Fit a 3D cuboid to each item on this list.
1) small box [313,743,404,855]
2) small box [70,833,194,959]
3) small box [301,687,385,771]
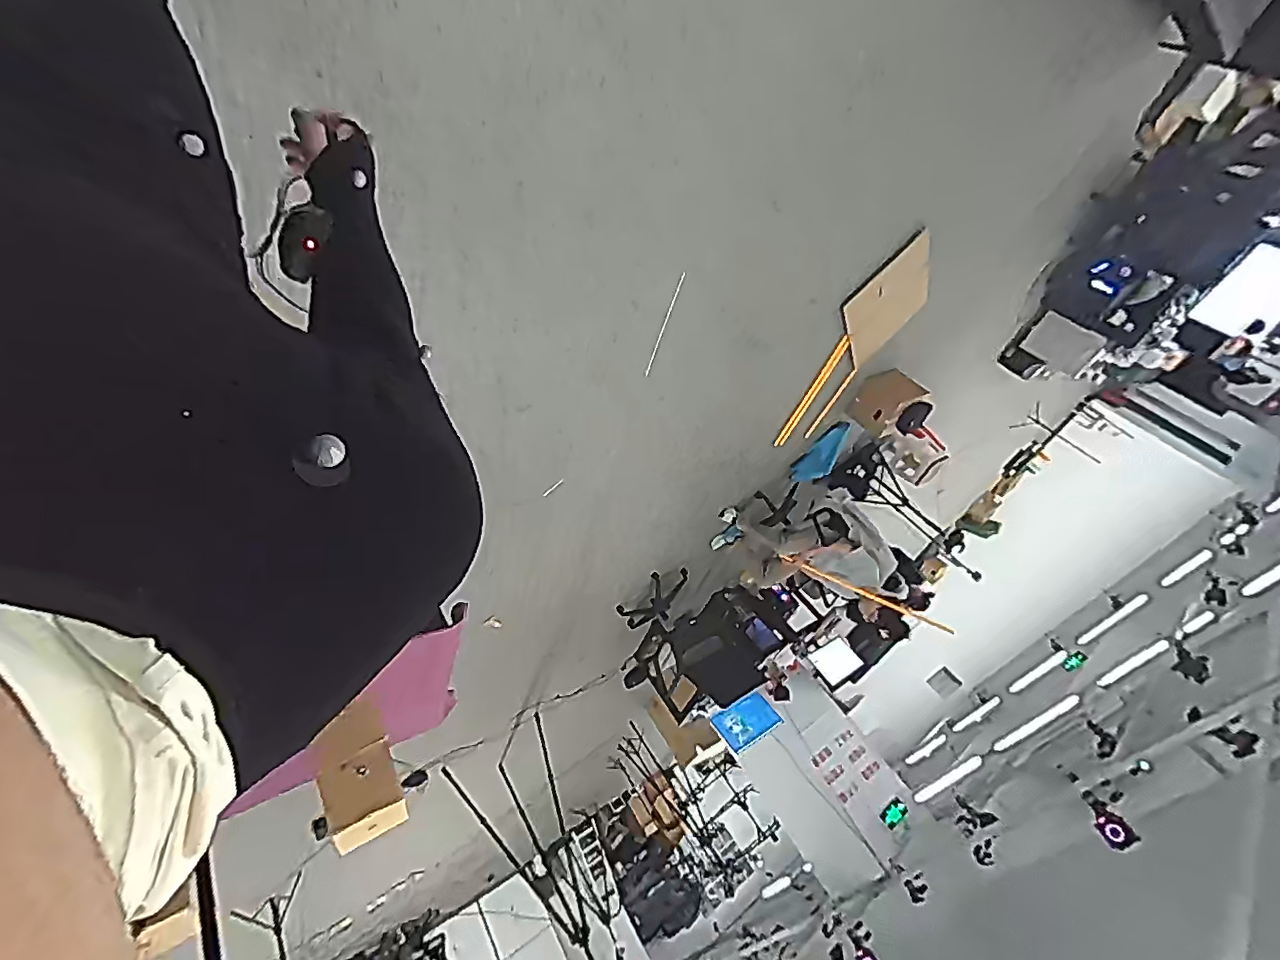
[{"bbox_3d":[-0.716,0.808,1.381,0.168,0.176,0.179,-16,141,-32],"label":"small box"},{"bbox_3d":[-1.045,0.874,1.117,0.168,0.176,0.179,-10,137,-39],"label":"small box"},{"bbox_3d":[-0.801,0.698,1.465,0.168,0.176,0.179,-15,141,-35],"label":"small box"}]
